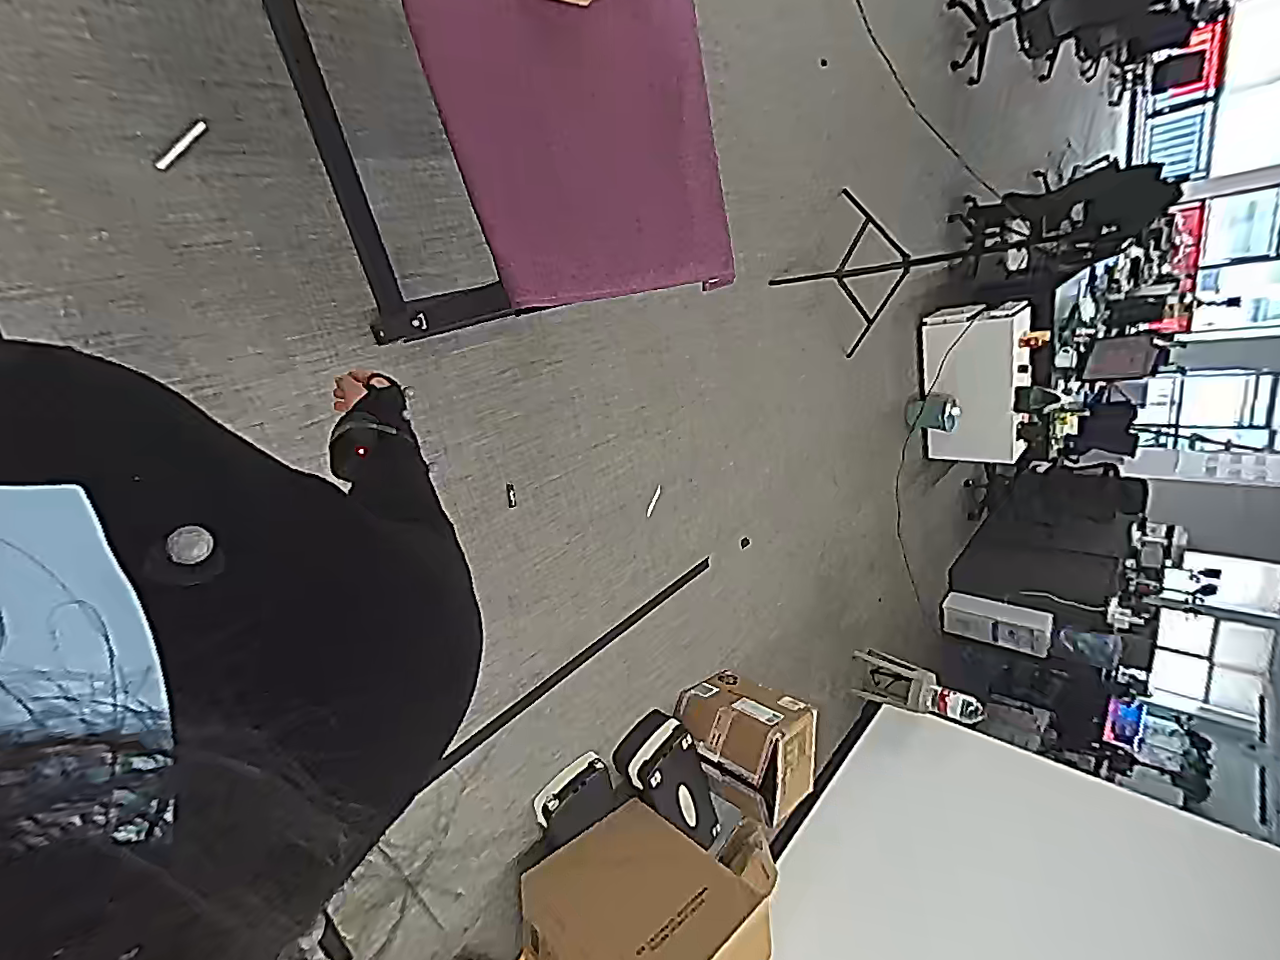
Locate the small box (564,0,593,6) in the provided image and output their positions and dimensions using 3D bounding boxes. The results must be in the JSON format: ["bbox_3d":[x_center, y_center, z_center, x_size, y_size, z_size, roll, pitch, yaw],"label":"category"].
[{"bbox_3d":[-0.108,-0.849,0.793,0.168,0.176,0.179,-28,114,-38],"label":"small box"}]
